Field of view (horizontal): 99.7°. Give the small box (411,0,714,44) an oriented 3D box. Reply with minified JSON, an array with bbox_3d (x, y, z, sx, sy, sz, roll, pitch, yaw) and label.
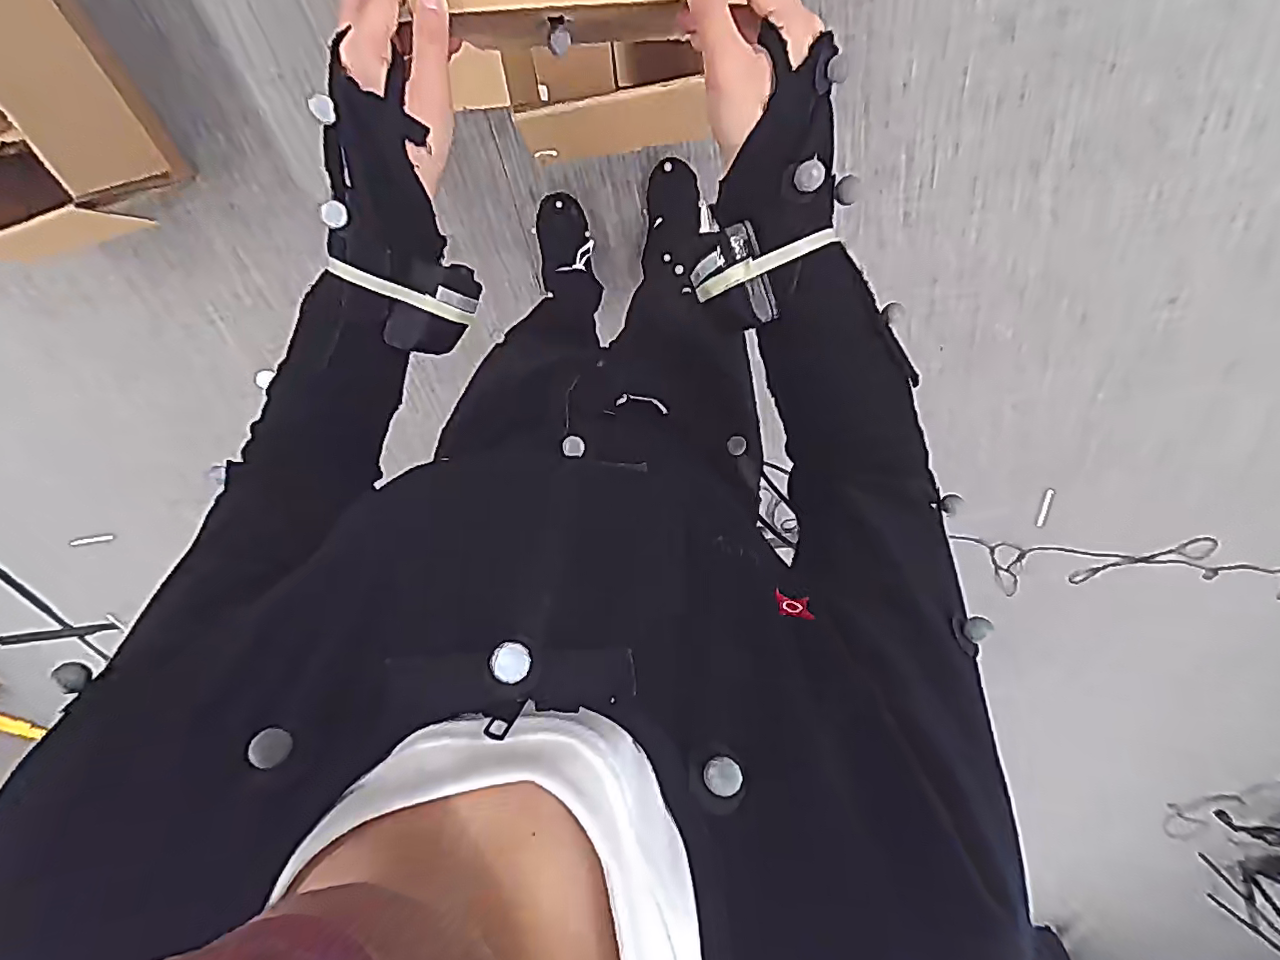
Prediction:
[{"bbox_3d":[-0.046,-0.379,0.326,0.179,0.176,0.168,-2,123,1],"label":"small box"}]
